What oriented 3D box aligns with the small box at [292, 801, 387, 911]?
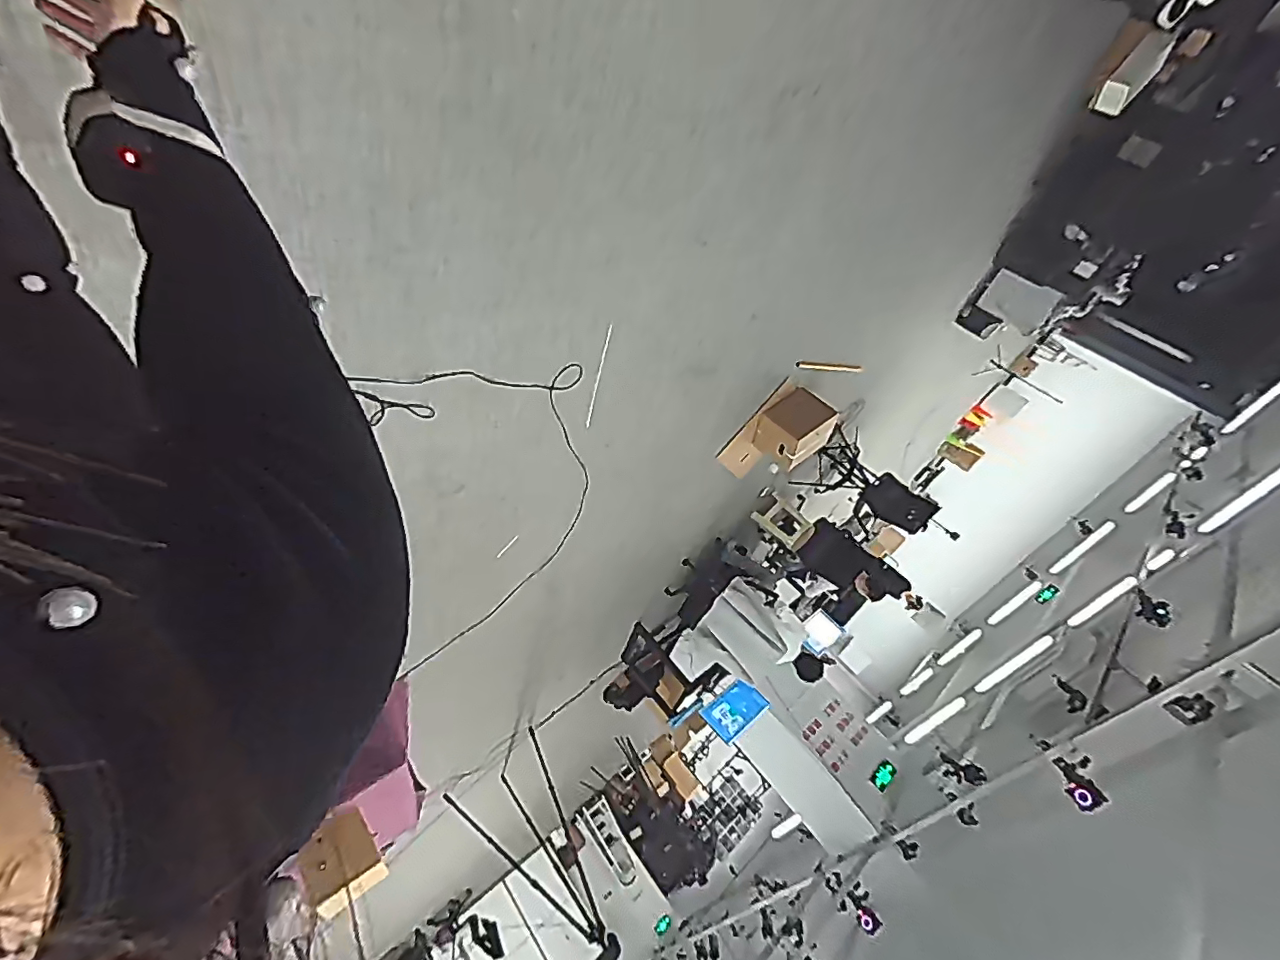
[{"bbox_3d":[-0.809,1.009,1.460,0.168,0.176,0.179,-25,148,-35],"label":"small box"}]
